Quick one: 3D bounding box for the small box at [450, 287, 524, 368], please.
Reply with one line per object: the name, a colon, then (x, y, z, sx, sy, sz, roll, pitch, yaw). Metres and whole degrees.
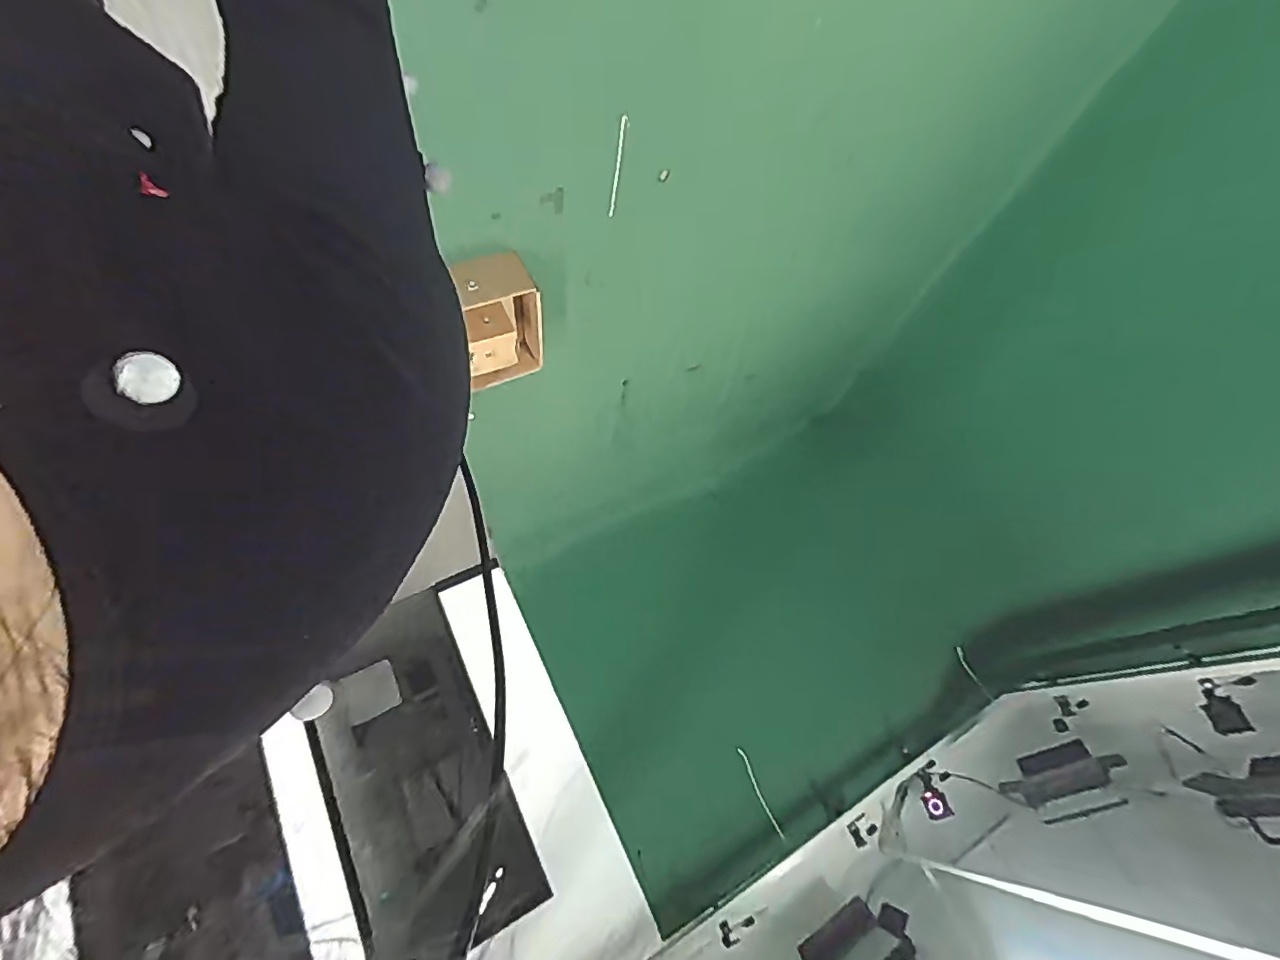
small box: (-0.492, -0.497, 1.750, 0.179, 0.176, 0.168, -22, 161, -18)
